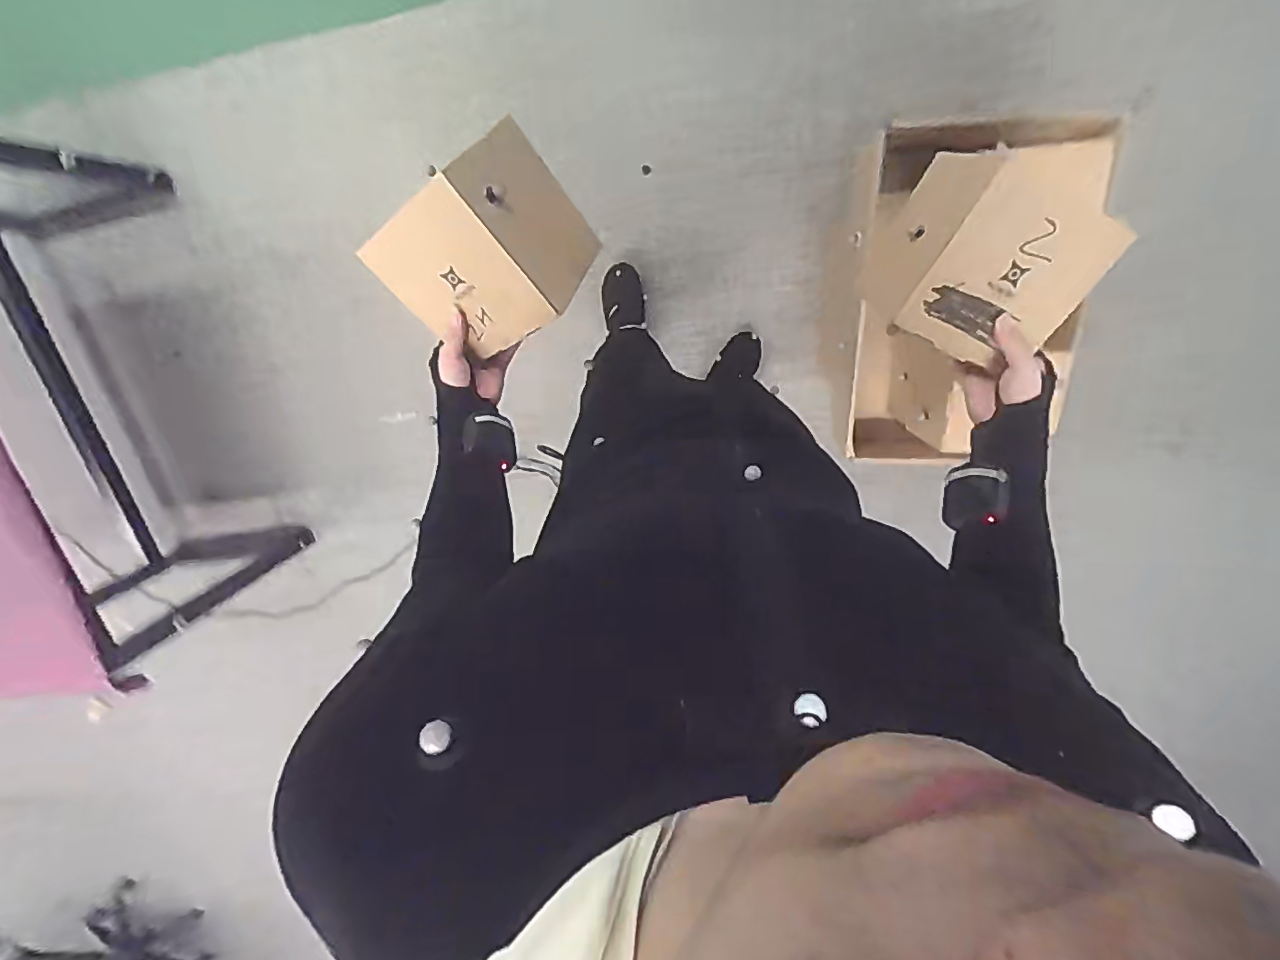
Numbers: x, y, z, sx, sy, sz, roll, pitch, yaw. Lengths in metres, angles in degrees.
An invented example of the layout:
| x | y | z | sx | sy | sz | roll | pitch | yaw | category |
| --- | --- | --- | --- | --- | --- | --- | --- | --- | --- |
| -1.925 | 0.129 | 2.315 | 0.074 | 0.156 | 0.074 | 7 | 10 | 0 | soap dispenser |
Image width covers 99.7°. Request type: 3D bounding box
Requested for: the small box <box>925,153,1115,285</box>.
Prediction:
| x | y | z | sx | sy | sz | roll | pitch | yaw | category |
| --- | --- | --- | --- | --- | --- | --- | --- | --- | --- |
| 0.582 | -0.401 | 0.854 | 0.179 | 0.176 | 0.168 | -2 | 109 | 7 | small box |

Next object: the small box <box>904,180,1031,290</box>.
| x | y | z | sx | sy | sz | roll | pitch | yaw | category |
| --- | --- | --- | --- | --- | --- | --- | --- | --- | --- |
| 0.611 | -0.451 | 1.007 | 0.168 | 0.176 | 0.179 | -1 | 110 | 7 | small box |

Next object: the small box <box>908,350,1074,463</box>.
| x | y | z | sx | sy | sz | roll | pitch | yaw | category |
| --- | --- | --- | --- | --- | --- | --- | --- | --- | --- |
| 0.593 | -0.133 | 0.943 | 0.179 | 0.176 | 0.168 | 1 | 110 | 5 | small box |

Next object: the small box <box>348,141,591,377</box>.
| x | y | z | sx | sy | sz | roll | pitch | yaw | category |
| --- | --- | --- | --- | --- | --- | --- | --- | --- | --- |
| -0.187 | -0.260 | 0.634 | 0.168 | 0.176 | 0.179 | -17 | 131 | 35 | small box |
